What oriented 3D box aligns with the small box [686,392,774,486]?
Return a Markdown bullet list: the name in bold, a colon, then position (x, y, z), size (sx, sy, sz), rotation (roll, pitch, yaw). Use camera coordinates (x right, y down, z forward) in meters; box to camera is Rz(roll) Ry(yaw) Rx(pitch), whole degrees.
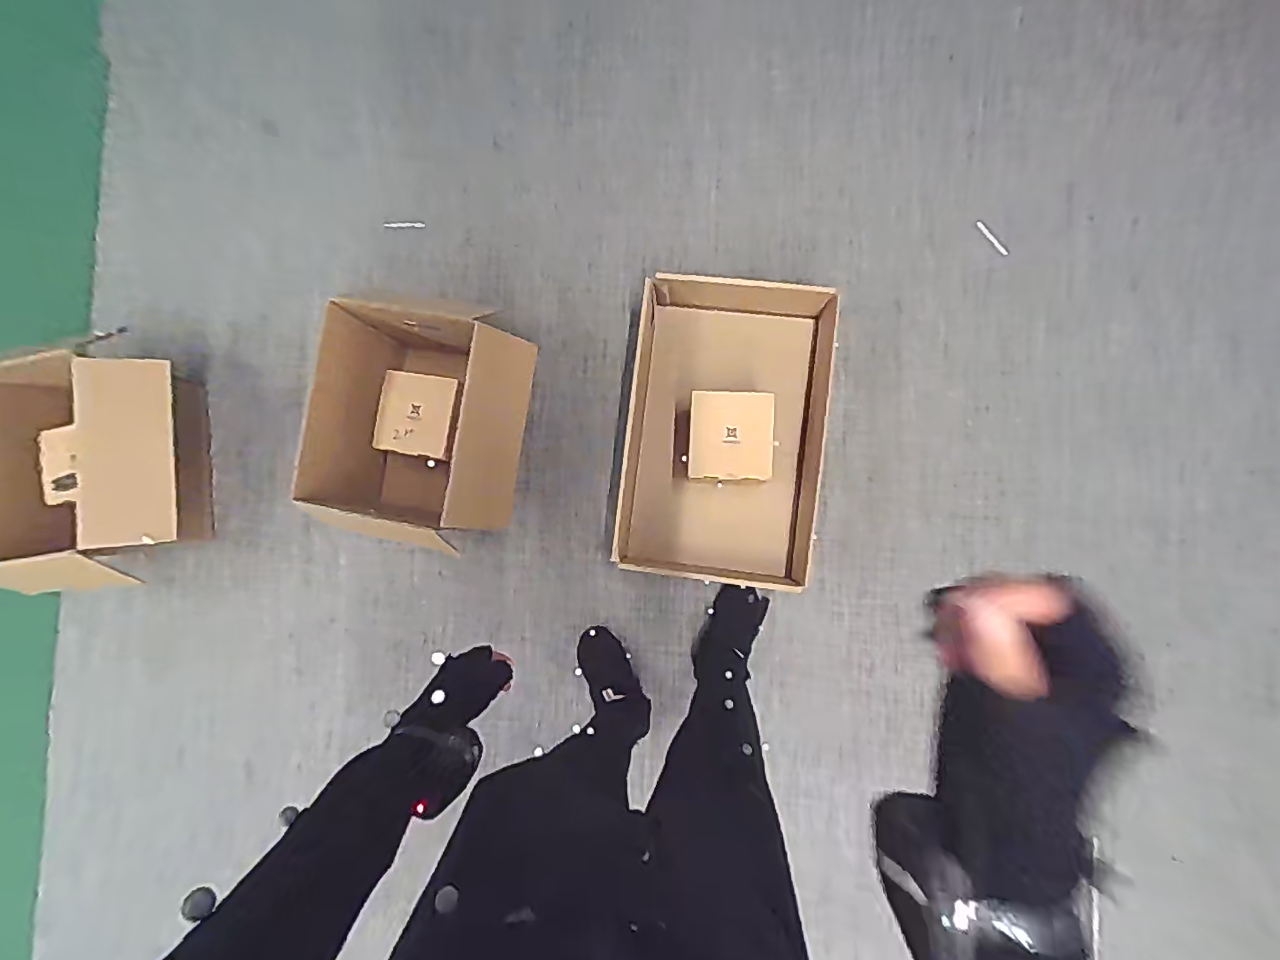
- **small box**: position (0.184, -0.081, 1.146), size (0.168, 0.176, 0.179), rotation (2, 87, 5)
